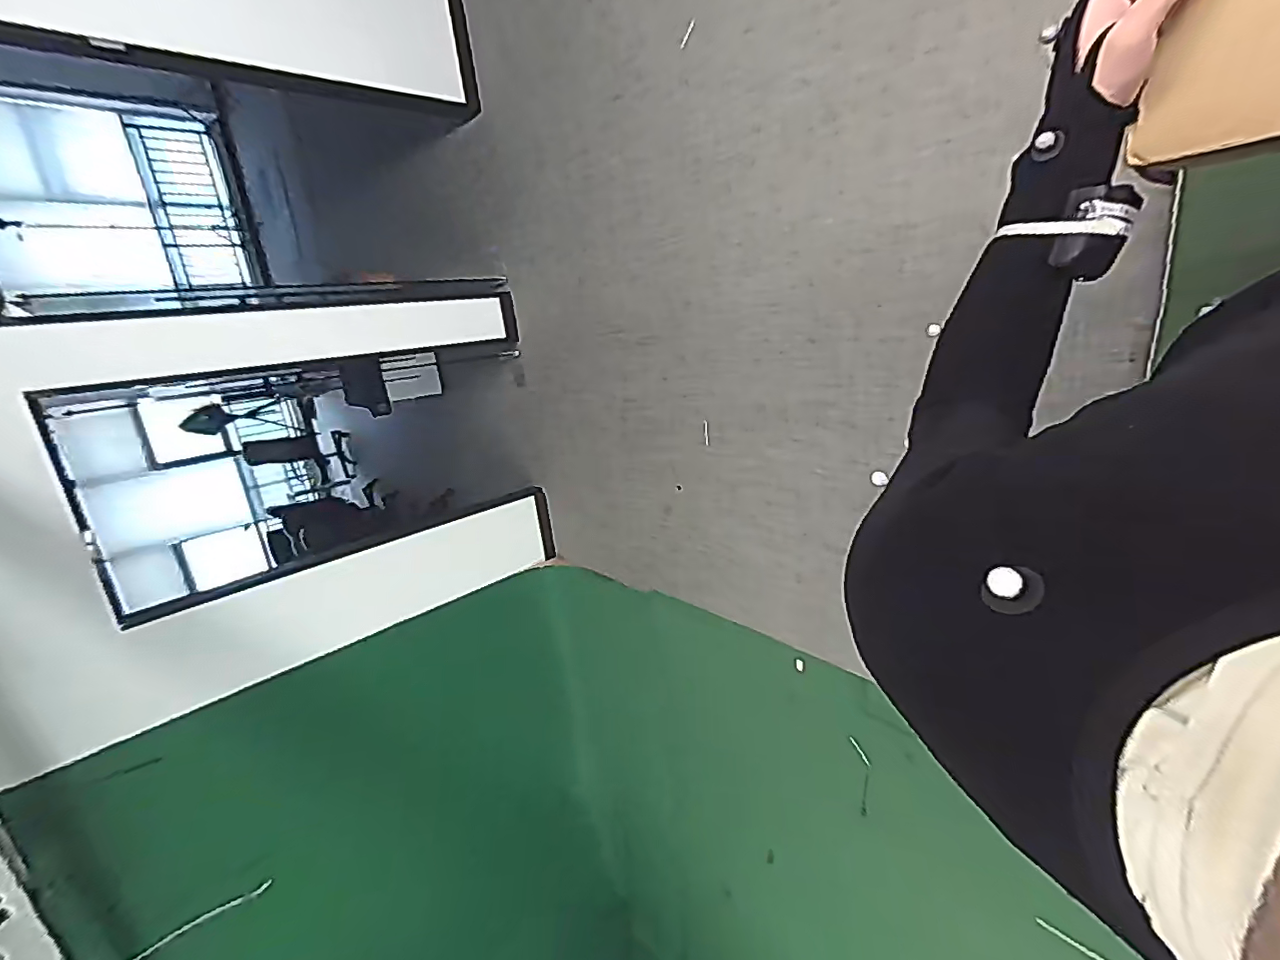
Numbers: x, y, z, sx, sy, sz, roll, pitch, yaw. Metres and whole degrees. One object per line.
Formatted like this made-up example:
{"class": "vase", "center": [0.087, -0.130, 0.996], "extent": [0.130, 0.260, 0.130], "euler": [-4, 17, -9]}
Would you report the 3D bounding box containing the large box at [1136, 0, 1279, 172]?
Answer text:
{"class": "large box", "center": [0.601, -0.420, 0.329], "extent": [0.408, 0.320, 0.320], "euler": [10, 117, 47]}
